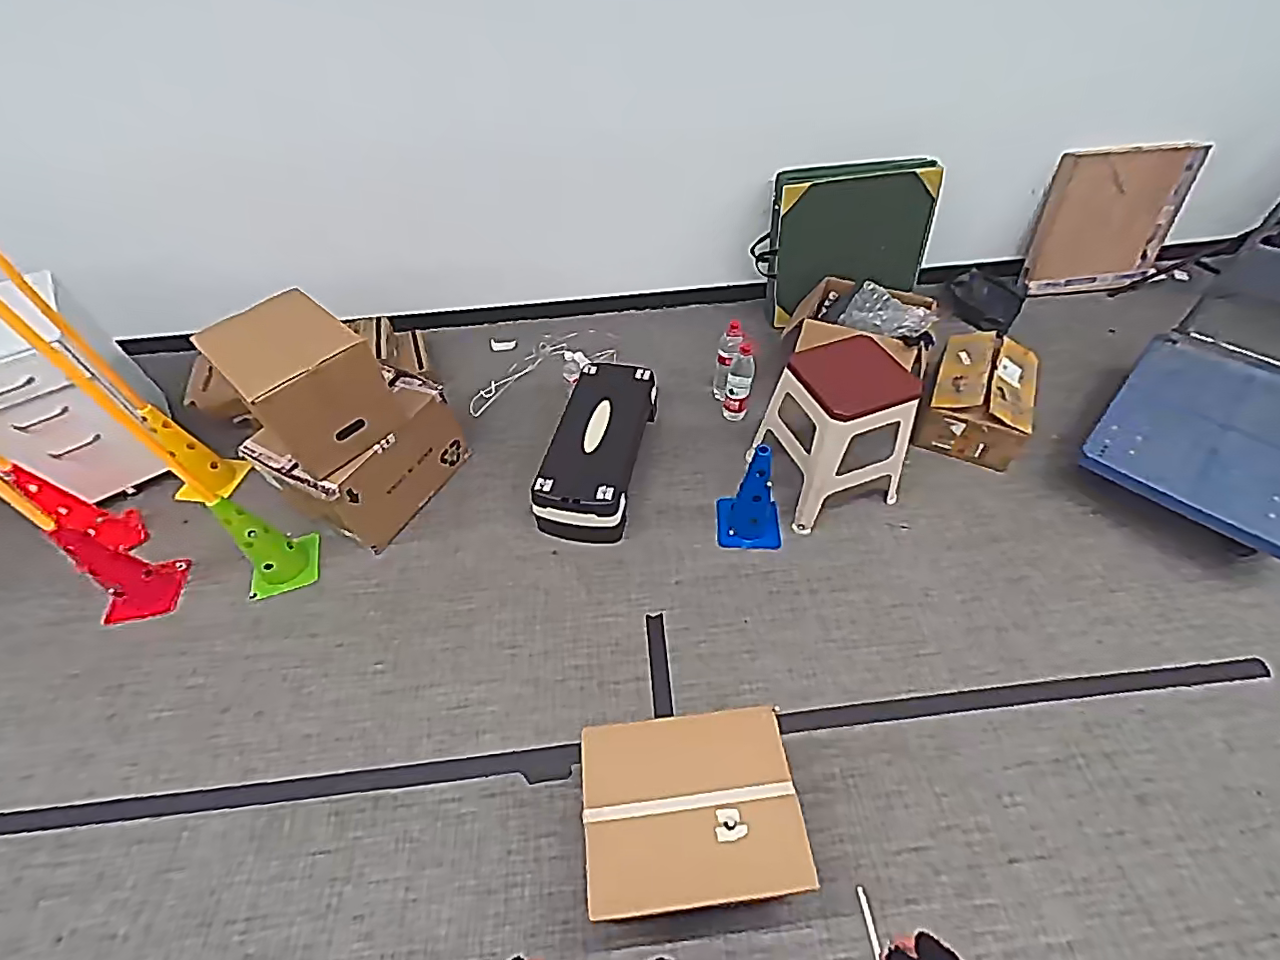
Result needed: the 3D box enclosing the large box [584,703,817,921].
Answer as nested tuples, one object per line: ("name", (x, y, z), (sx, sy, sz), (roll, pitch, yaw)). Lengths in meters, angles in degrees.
("large box", (0.101, 0.705, 1.144), (0.408, 0.320, 0.320), (-6, 51, -4))
